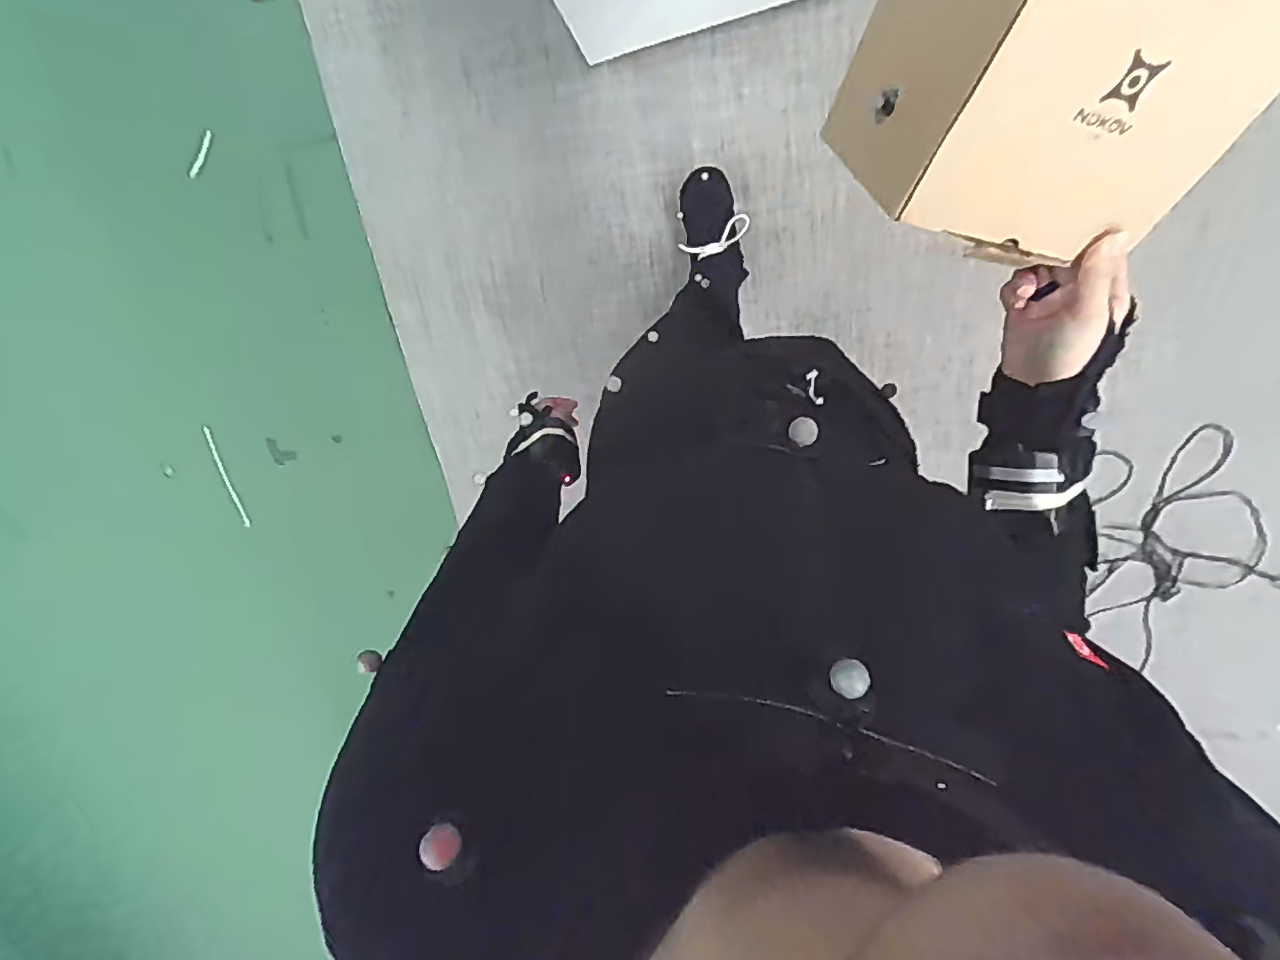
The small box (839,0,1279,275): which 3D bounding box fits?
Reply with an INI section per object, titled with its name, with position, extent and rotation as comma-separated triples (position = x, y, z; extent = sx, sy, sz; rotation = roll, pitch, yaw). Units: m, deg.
[small box]
position = 0.247, -0.261, 0.334
extent = 0.168, 0.176, 0.179
rotation = 7, 136, -12
